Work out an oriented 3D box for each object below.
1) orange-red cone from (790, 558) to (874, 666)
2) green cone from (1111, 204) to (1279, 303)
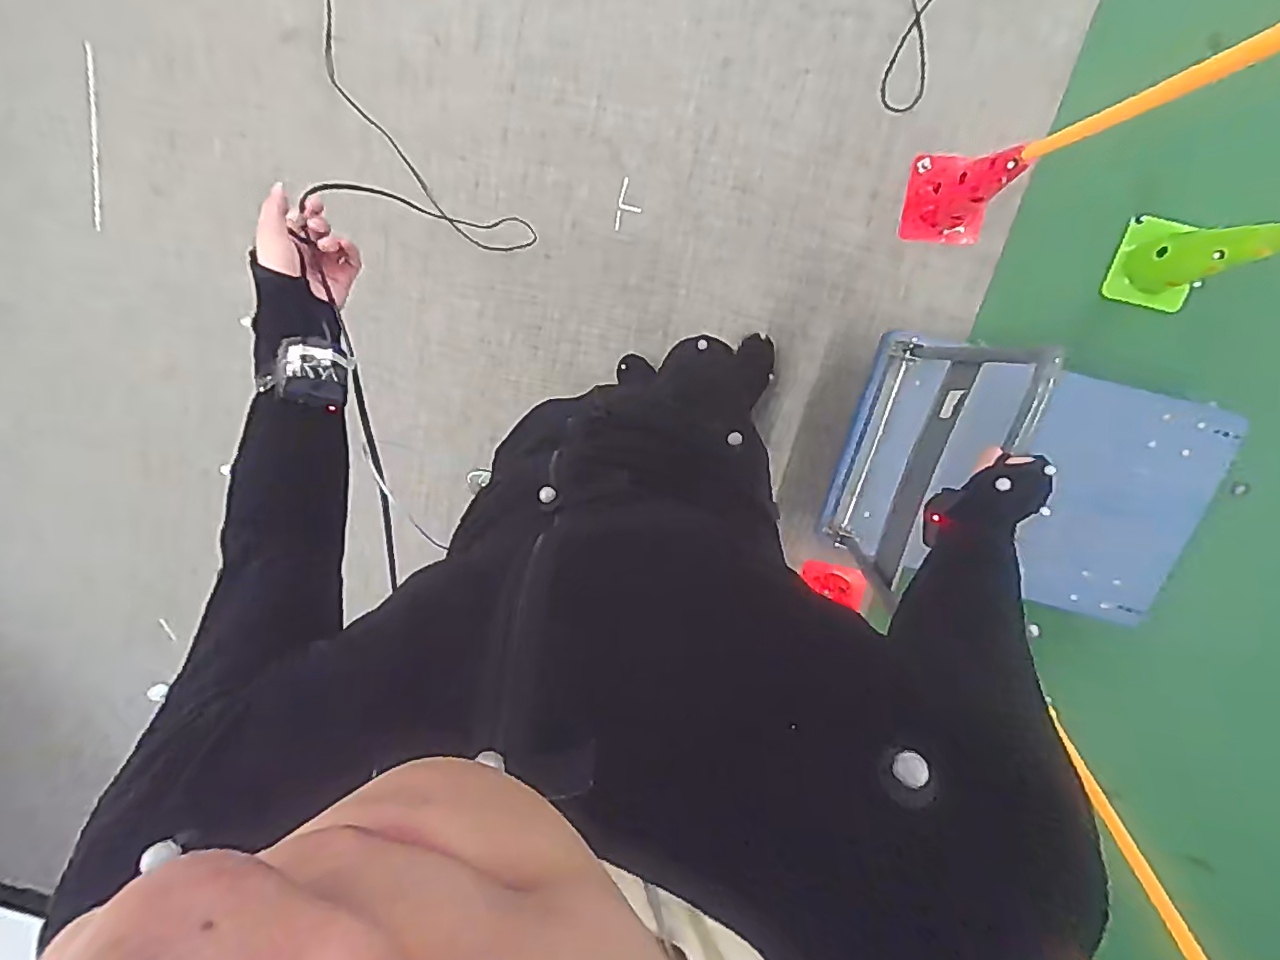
[{"bbox_3d":[0.561,0.385,1.472,0.199,0.360,0.198,14,106,0],"label":"orange-red cone"},{"bbox_3d":[1.276,-0.515,1.165,0.202,0.368,0.200,14,105,1],"label":"green cone"}]
